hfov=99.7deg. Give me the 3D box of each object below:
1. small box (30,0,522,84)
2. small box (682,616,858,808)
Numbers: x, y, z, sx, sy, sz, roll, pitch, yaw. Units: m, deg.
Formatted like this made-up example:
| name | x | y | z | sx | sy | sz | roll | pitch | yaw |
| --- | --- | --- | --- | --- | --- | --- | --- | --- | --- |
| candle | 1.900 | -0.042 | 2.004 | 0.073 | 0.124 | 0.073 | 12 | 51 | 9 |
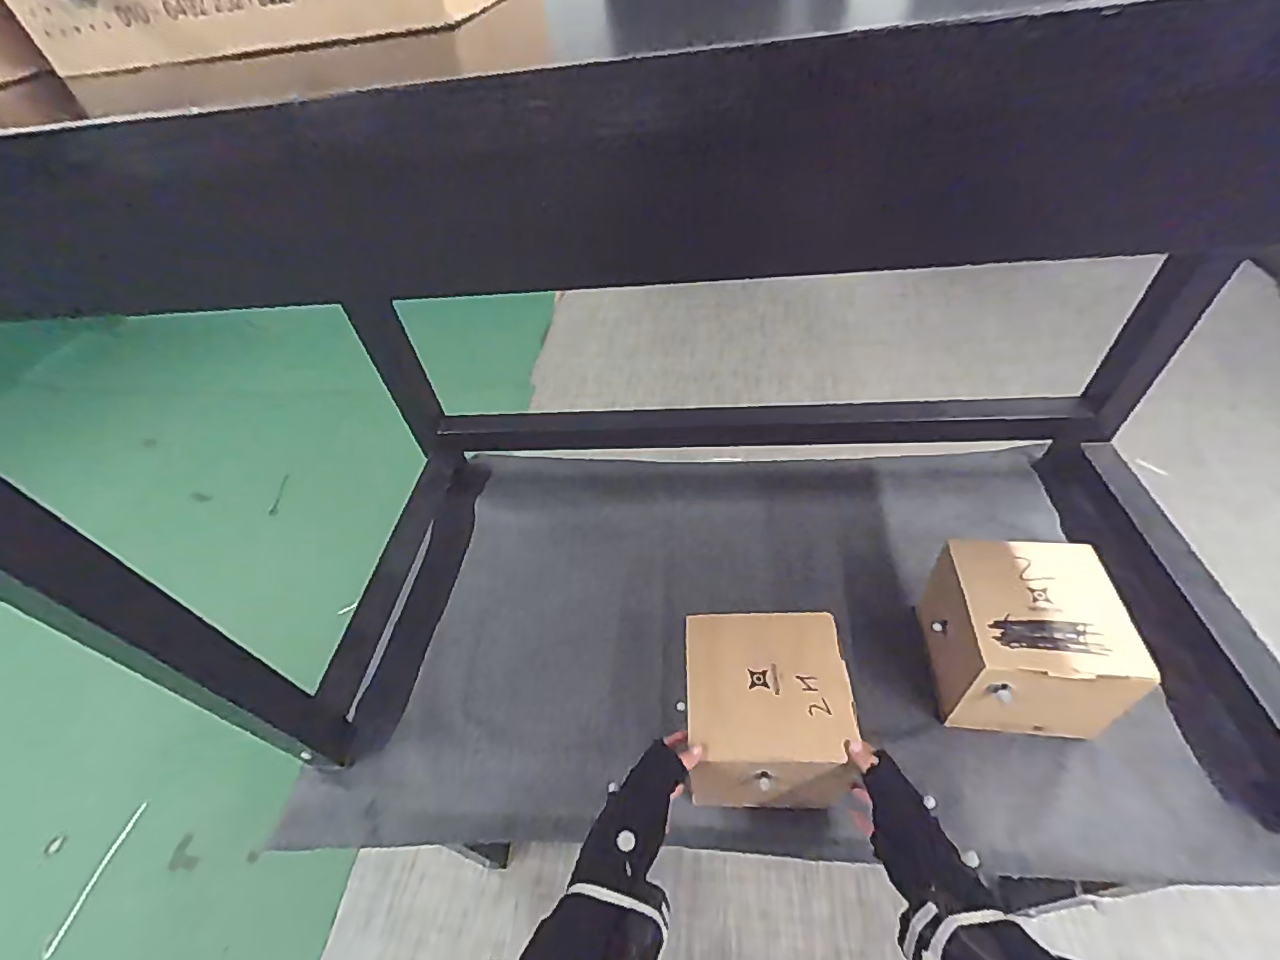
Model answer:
| name | x | y | z | sx | sy | sz | roll | pitch | yaw |
| --- | --- | --- | --- | --- | --- | --- | --- | --- | --- |
| small box | -0.155 | -0.274 | 0.211 | 0.168 | 0.176 | 0.179 | -2 | 46 | 7 |
| small box | 0.143 | 0.280 | 0.650 | 0.179 | 0.176 | 0.168 | -2 | 46 | 6 |
